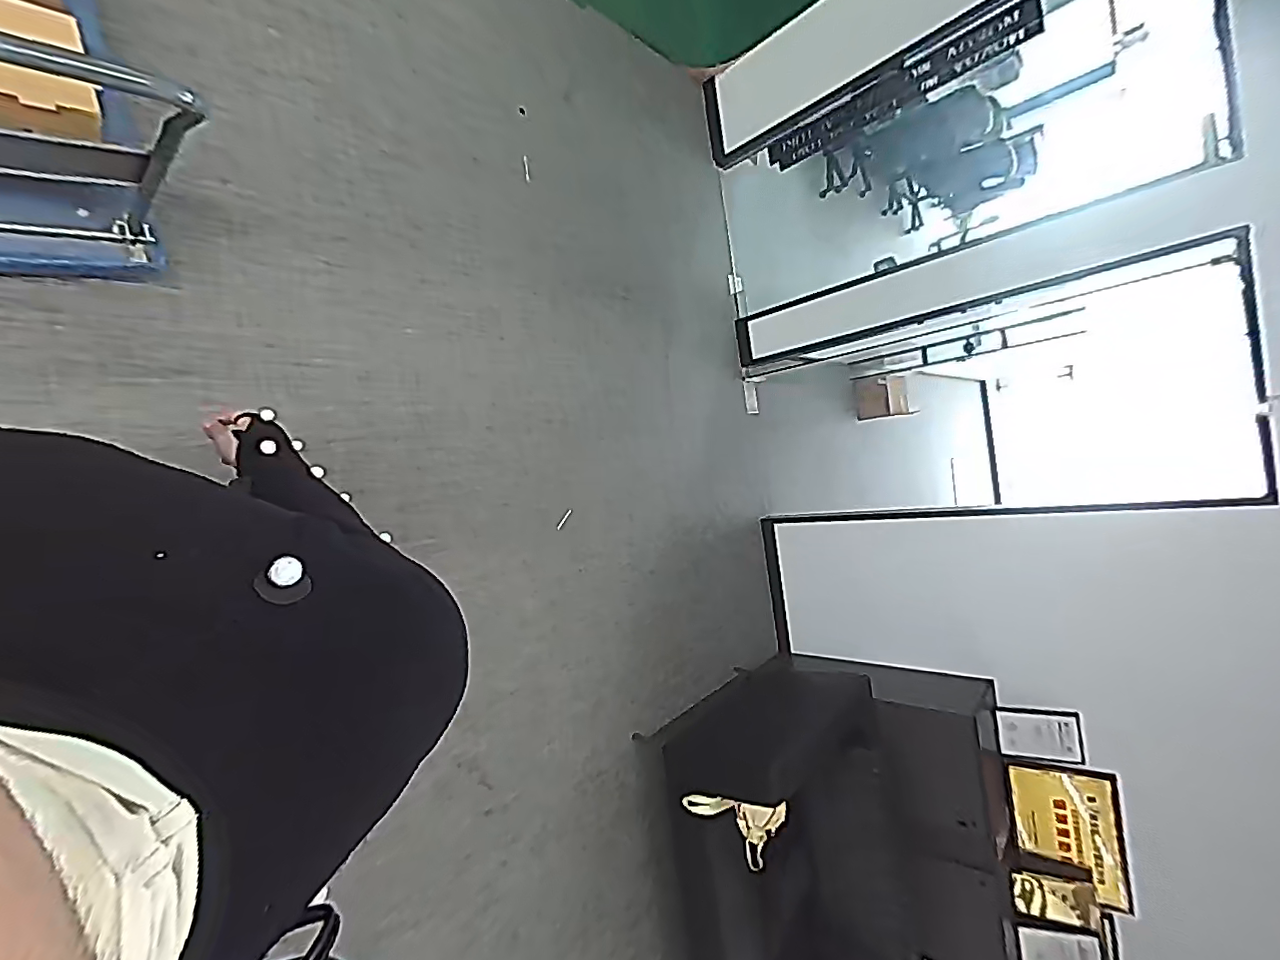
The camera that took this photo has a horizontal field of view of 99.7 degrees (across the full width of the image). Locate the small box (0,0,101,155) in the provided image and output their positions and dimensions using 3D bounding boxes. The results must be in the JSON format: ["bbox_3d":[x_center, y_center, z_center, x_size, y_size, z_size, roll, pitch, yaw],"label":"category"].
[{"bbox_3d":[-1.126,-0.737,0.986,0.168,0.176,0.179,-17,99,-47],"label":"small box"}]
